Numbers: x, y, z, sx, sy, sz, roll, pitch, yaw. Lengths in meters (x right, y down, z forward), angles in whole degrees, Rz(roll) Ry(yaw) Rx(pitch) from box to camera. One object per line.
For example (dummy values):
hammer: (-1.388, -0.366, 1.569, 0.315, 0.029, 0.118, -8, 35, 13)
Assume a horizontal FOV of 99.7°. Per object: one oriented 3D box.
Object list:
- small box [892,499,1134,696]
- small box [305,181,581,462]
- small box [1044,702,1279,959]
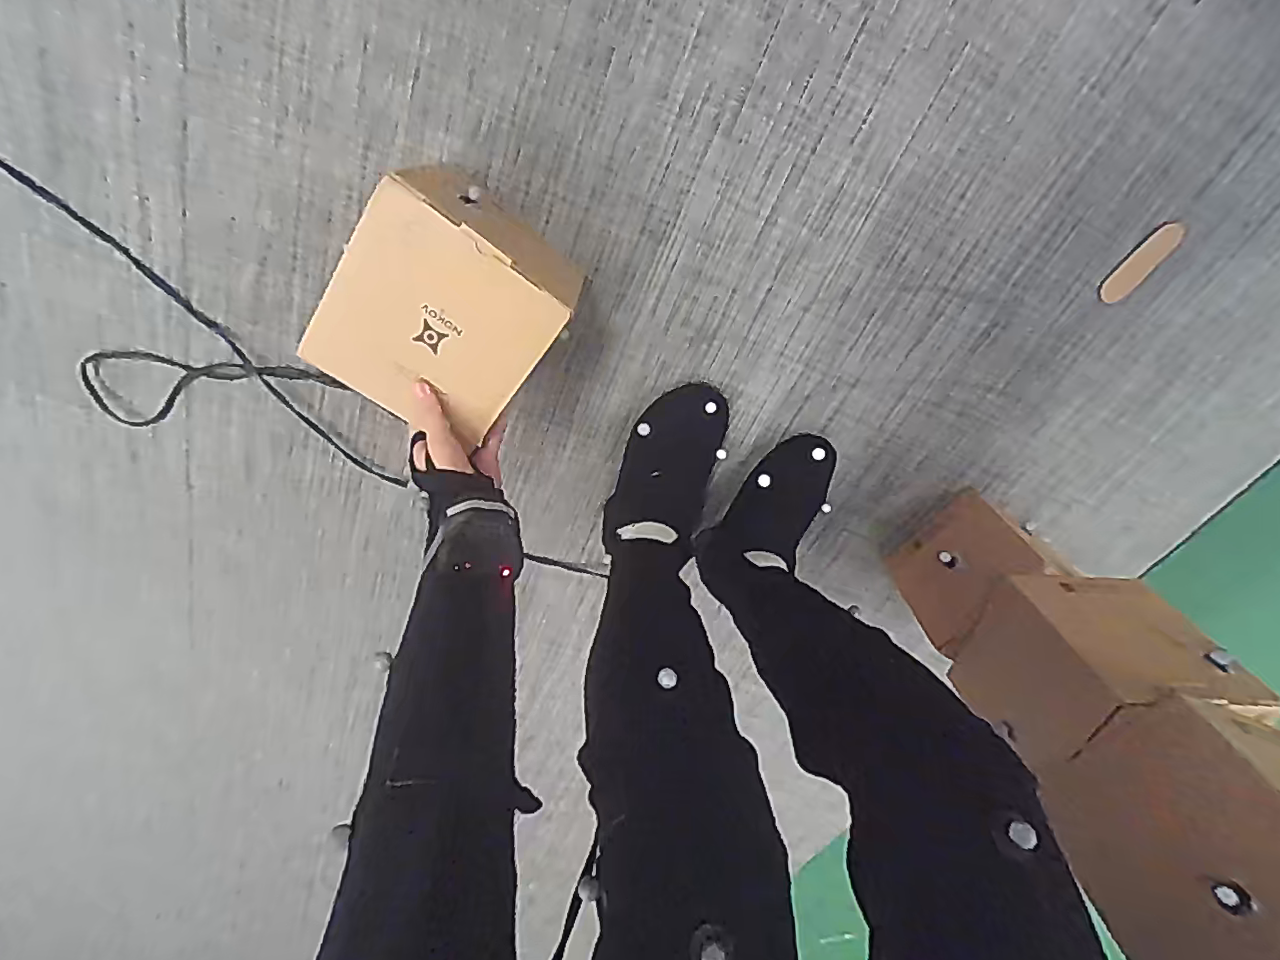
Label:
small box: (0.484, 0.150, 0.733, 0.179, 0.176, 0.168, 29, 116, -18)
small box: (-0.169, -0.158, 0.517, 0.168, 0.176, 0.179, 34, 115, -19)
small box: (0.501, 0.315, 0.448, 0.168, 0.176, 0.179, 21, 120, -16)
